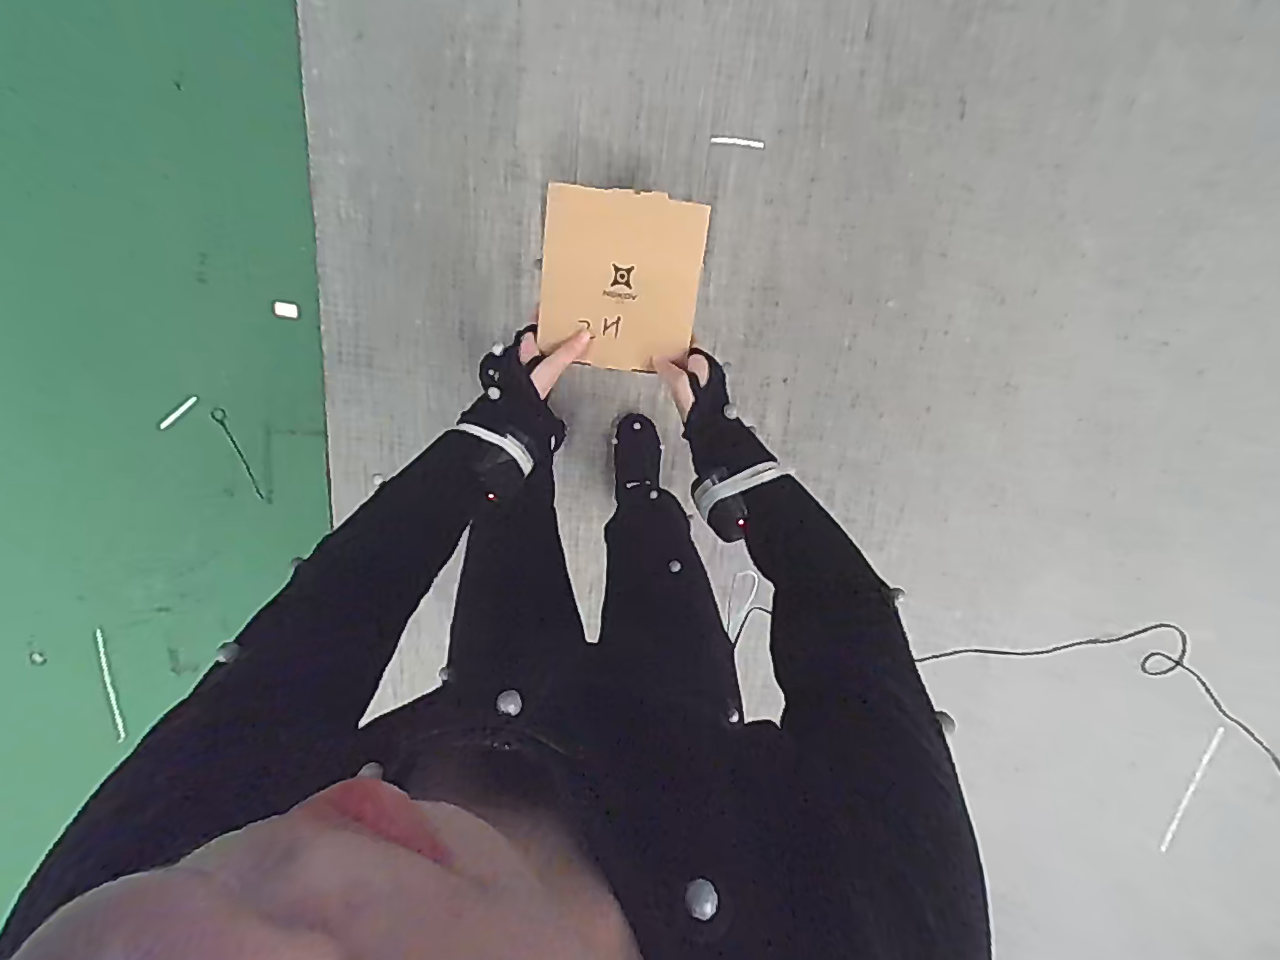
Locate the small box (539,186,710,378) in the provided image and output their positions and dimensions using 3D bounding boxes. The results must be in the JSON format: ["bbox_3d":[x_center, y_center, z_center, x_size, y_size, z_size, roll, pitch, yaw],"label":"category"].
[{"bbox_3d":[-0.020,-0.230,0.653,0.168,0.176,0.179,8,108,-2],"label":"small box"}]
